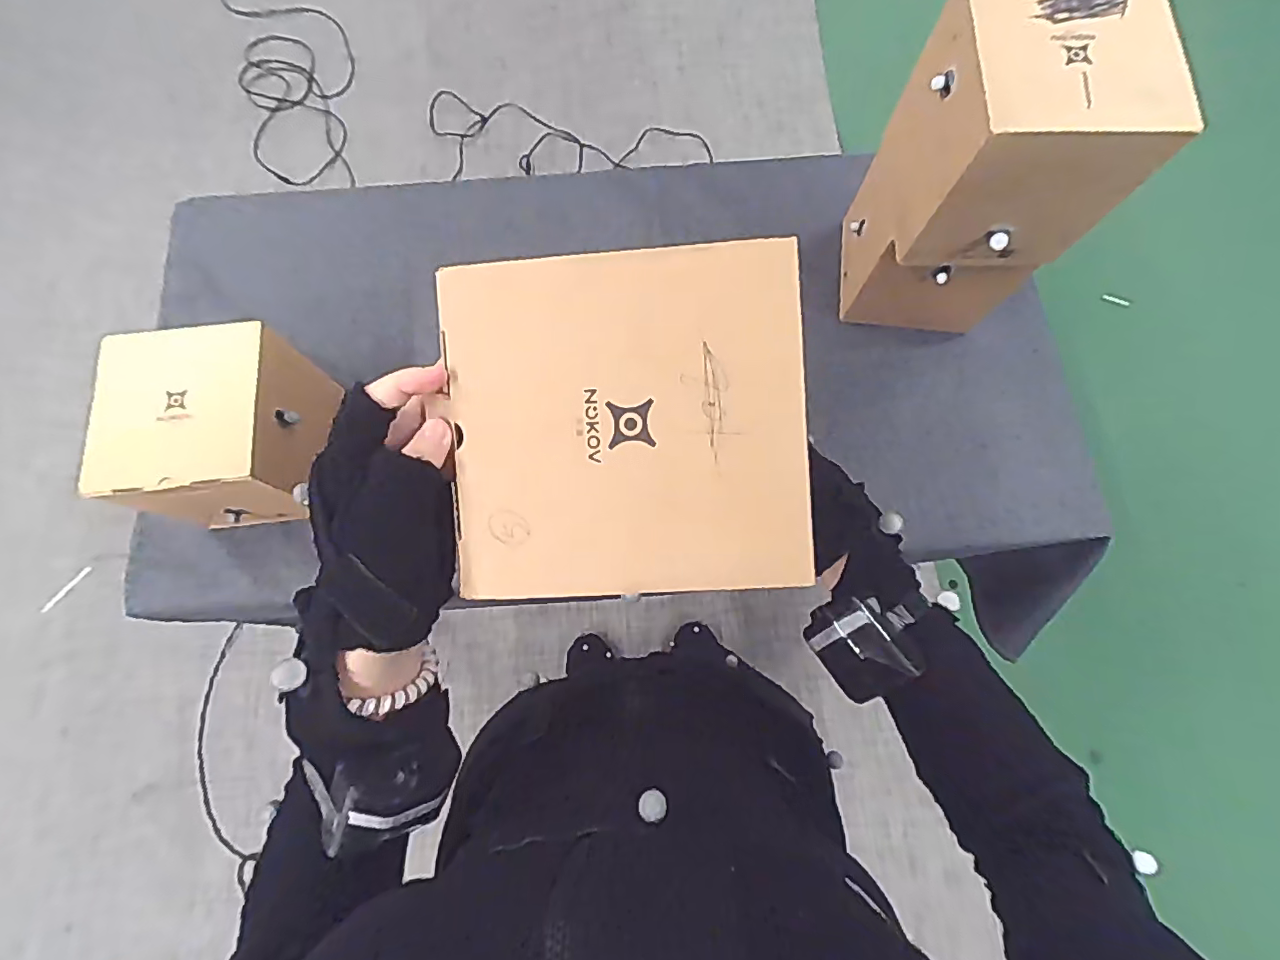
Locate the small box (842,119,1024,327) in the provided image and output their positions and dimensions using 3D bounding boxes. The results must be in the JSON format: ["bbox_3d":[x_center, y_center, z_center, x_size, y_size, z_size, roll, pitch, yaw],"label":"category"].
[{"bbox_3d":[0.368,-0.311,0.682,0.179,0.176,0.168,7,76,2],"label":"small box"}]

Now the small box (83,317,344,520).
[{"bbox_3d":[-0.464,-0.061,0.622,0.168,0.176,0.179,-6,76,-2],"label":"small box"}]

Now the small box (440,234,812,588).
[{"bbox_3d":[-0.002,-0.033,0.339,0.179,0.176,0.168,-3,93,3],"label":"small box"}]

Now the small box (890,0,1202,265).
[{"bbox_3d":[0.358,-0.335,0.519,0.168,0.176,0.179,1,76,1],"label":"small box"}]
